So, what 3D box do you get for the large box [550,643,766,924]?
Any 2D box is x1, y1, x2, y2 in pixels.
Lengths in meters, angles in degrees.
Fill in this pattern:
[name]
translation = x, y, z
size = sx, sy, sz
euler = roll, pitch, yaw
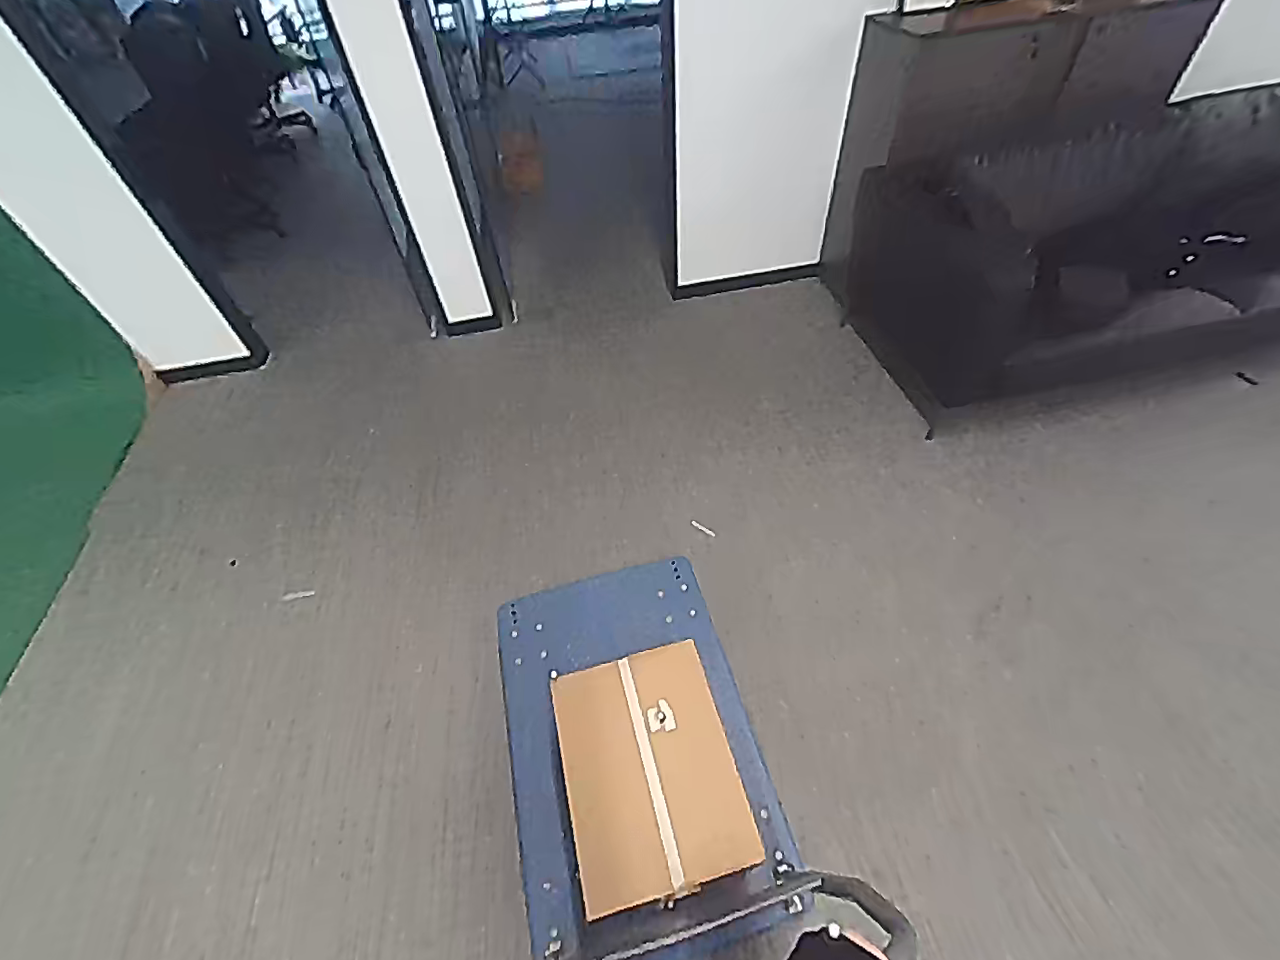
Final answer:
[large box]
translation = 0.025, 0.623, 1.125
size = 0.320, 0.320, 0.408
euler = -14, 52, -8
